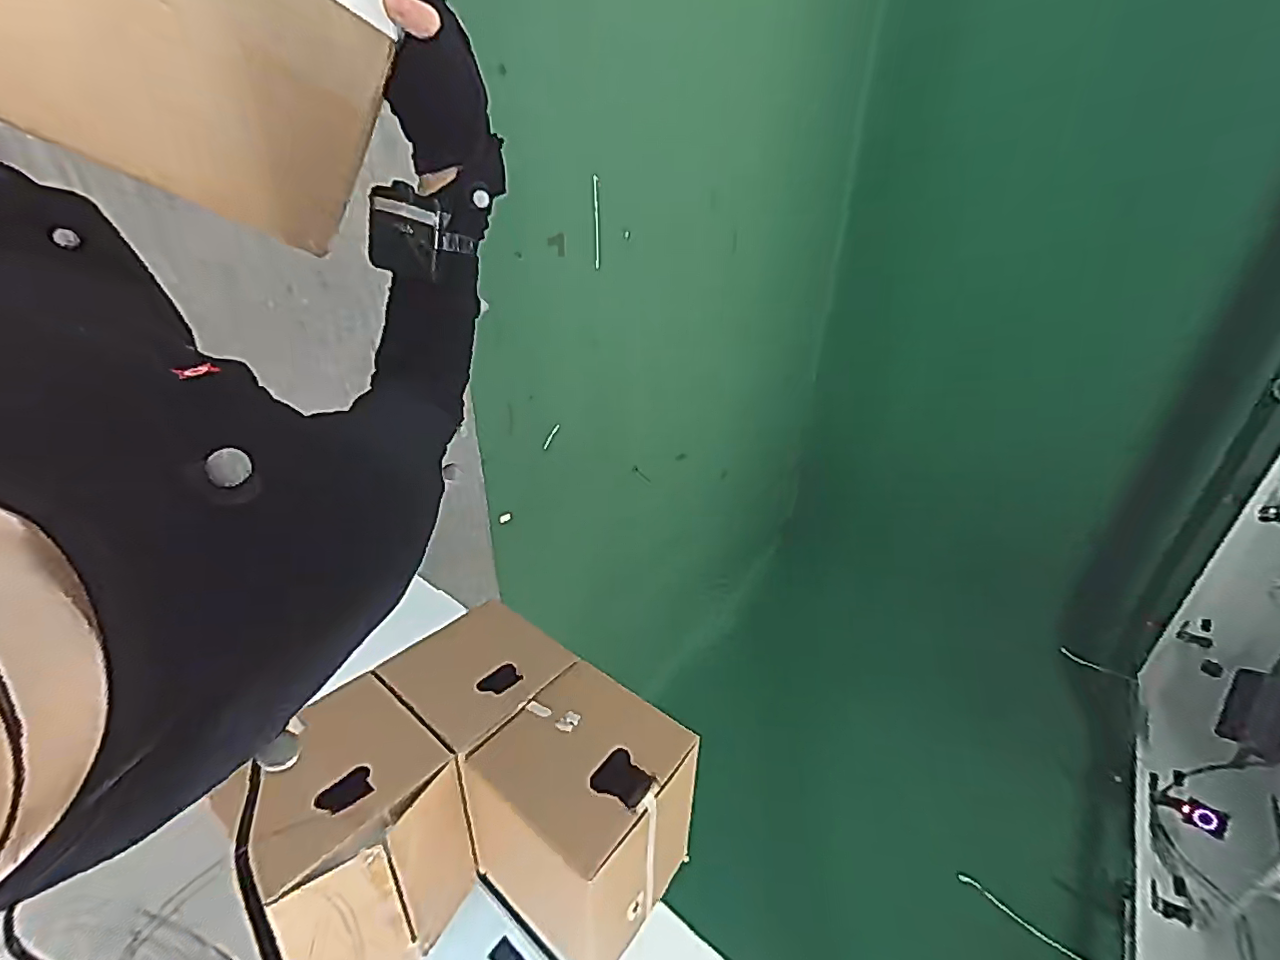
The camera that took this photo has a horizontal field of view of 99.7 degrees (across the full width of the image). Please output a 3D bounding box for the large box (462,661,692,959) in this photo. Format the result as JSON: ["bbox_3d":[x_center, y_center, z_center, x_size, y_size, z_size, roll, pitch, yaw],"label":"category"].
[{"bbox_3d":[-0.116,0.656,1.082,0.320,0.320,0.408,-31,133,-44],"label":"large box"}]
